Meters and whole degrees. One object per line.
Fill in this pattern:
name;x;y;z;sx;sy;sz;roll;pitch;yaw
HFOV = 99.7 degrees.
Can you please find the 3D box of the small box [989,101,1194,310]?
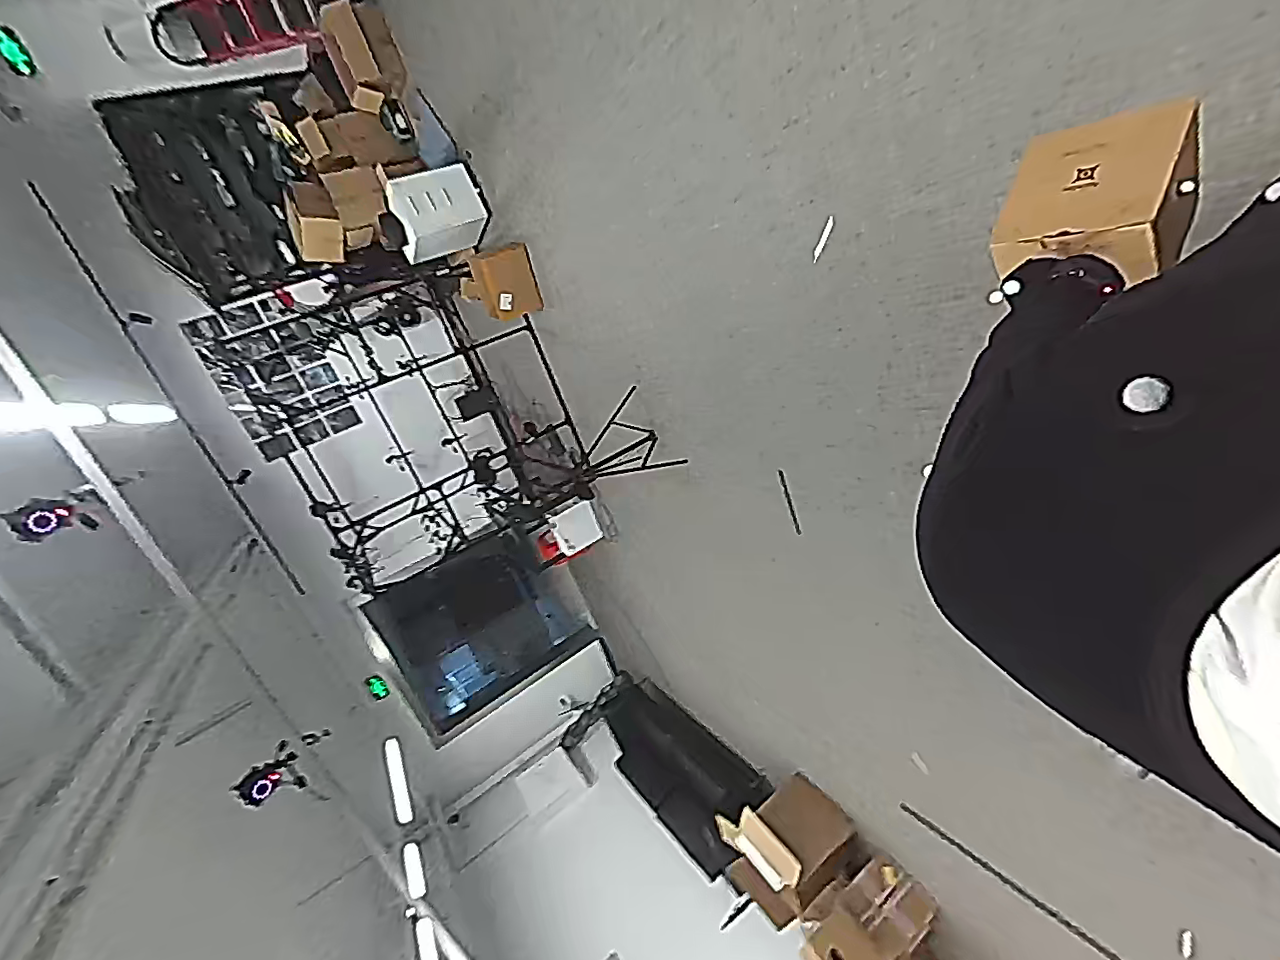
small box;0.605;-0.343;0.723;0.176;0.179;0.168;33;169;-40
